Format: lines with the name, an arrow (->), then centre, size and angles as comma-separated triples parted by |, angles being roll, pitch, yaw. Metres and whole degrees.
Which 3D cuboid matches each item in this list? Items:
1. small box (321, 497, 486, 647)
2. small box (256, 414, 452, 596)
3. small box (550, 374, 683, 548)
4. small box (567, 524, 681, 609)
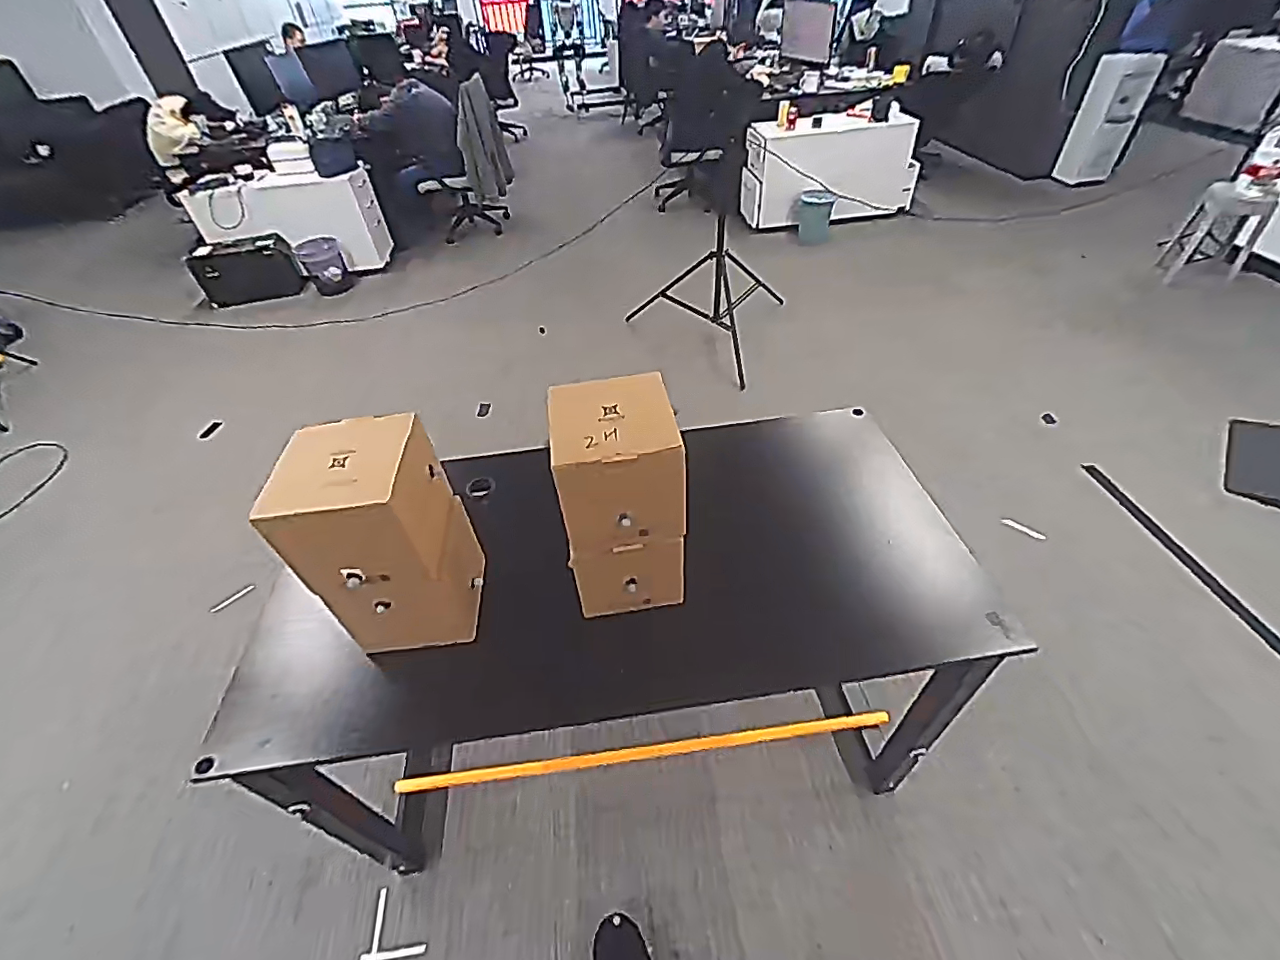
small box -> -0.360, 0.150, 0.861 | 0.179, 0.176, 0.168 | -6, 44, -3
small box -> -0.372, 0.035, 0.747 | 0.168, 0.176, 0.179 | -8, 45, -2
small box -> -0.035, -0.027, 0.780 | 0.168, 0.176, 0.179 | -9, 44, -3
small box -> -0.028, 0.096, 0.891 | 0.168, 0.176, 0.179 | -8, 44, -4
